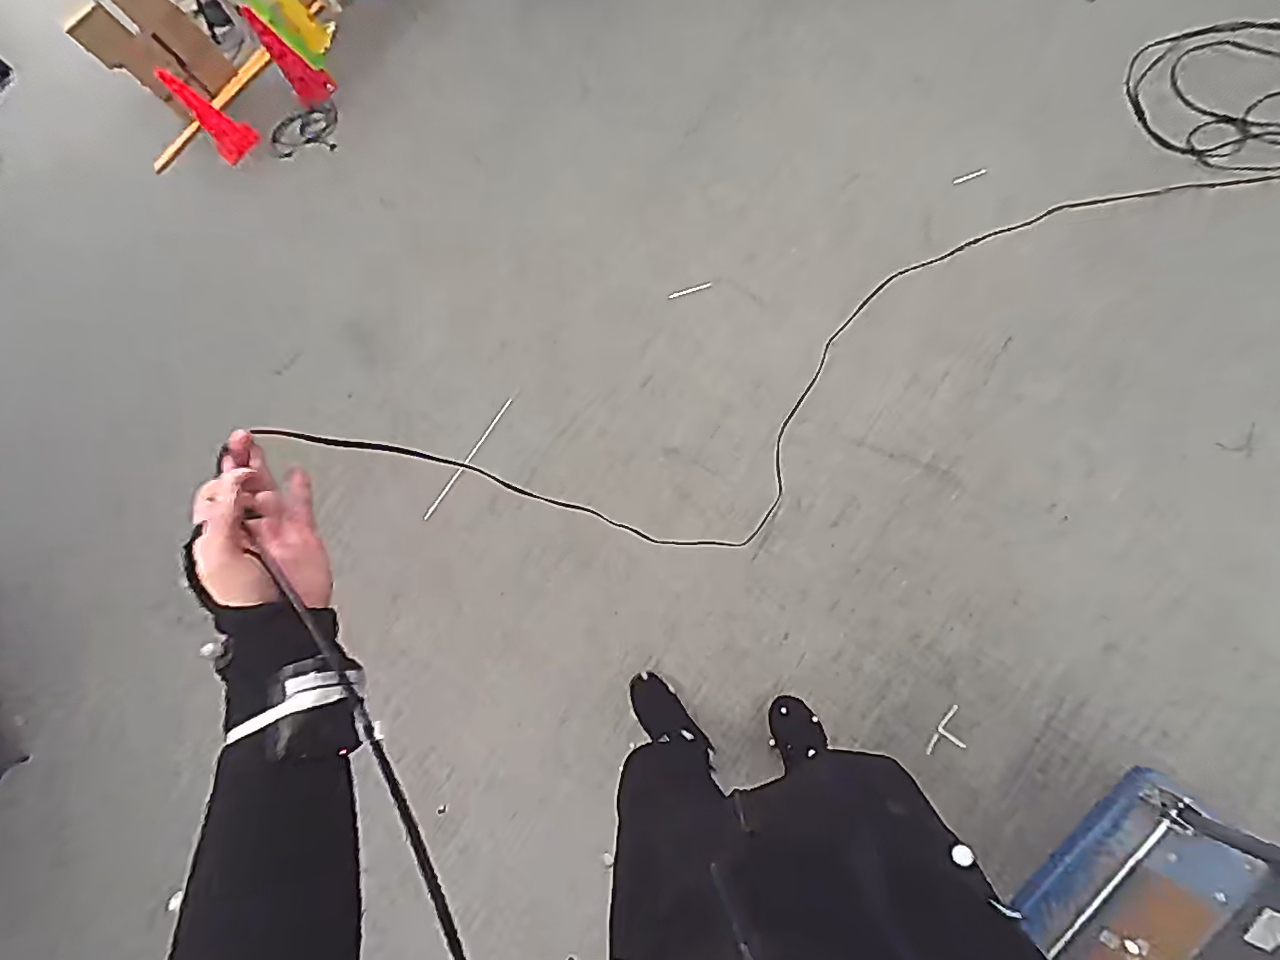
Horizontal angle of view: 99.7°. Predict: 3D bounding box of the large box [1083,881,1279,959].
[{"bbox_3d":[0.926,0.910,0.766,0.408,0.320,0.320,42,88,21],"label":"large box"}]
